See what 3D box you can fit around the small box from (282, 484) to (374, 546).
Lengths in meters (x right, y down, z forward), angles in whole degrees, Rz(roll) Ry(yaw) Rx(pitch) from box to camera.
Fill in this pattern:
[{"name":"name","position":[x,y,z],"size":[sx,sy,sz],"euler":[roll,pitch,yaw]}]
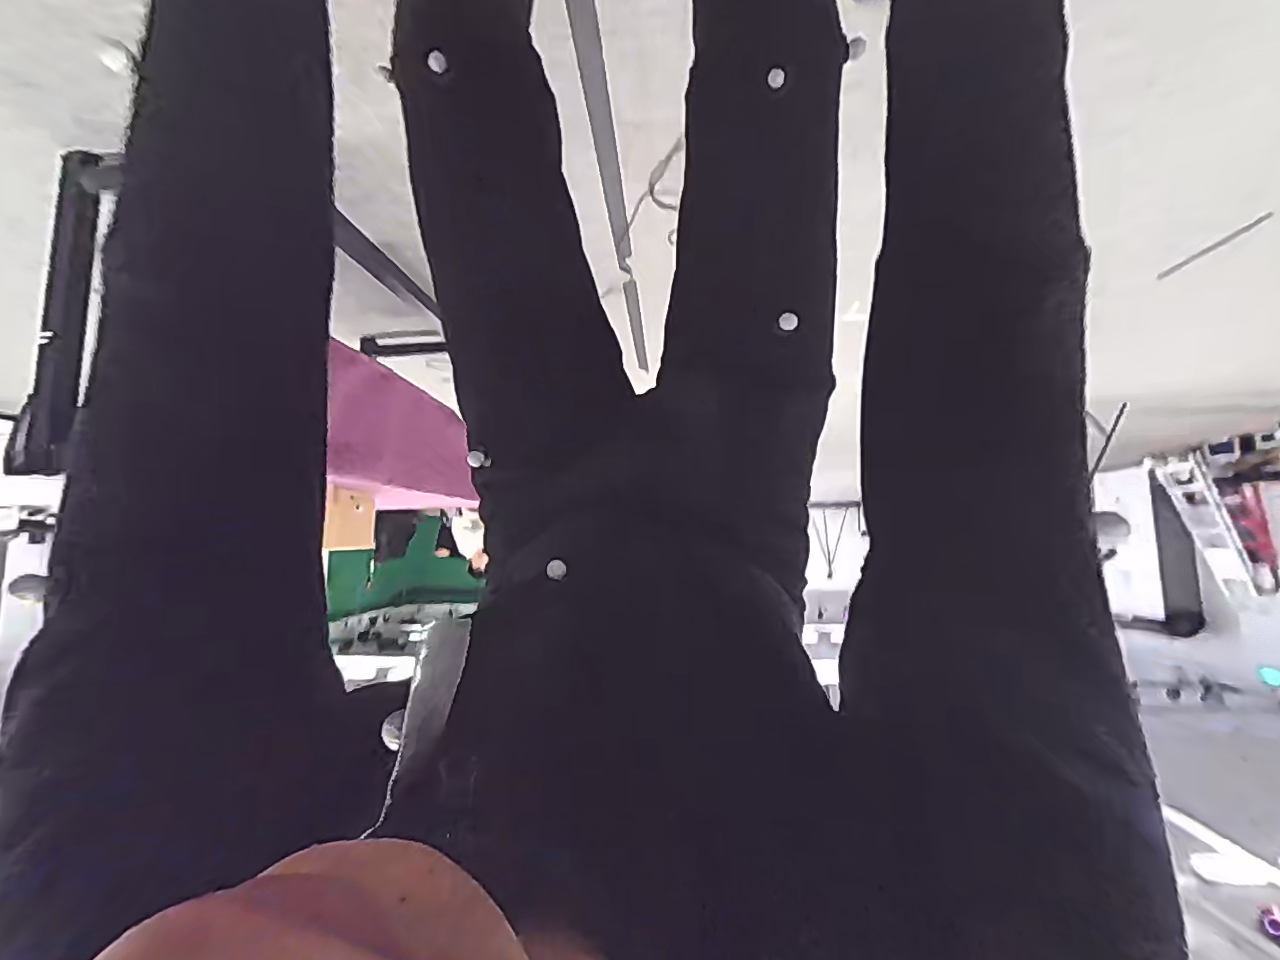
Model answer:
[{"name":"small box","position":[-0.906,0.107,1.585],"size":[0.179,0.176,0.168],"euler":[-3,174,9]}]
